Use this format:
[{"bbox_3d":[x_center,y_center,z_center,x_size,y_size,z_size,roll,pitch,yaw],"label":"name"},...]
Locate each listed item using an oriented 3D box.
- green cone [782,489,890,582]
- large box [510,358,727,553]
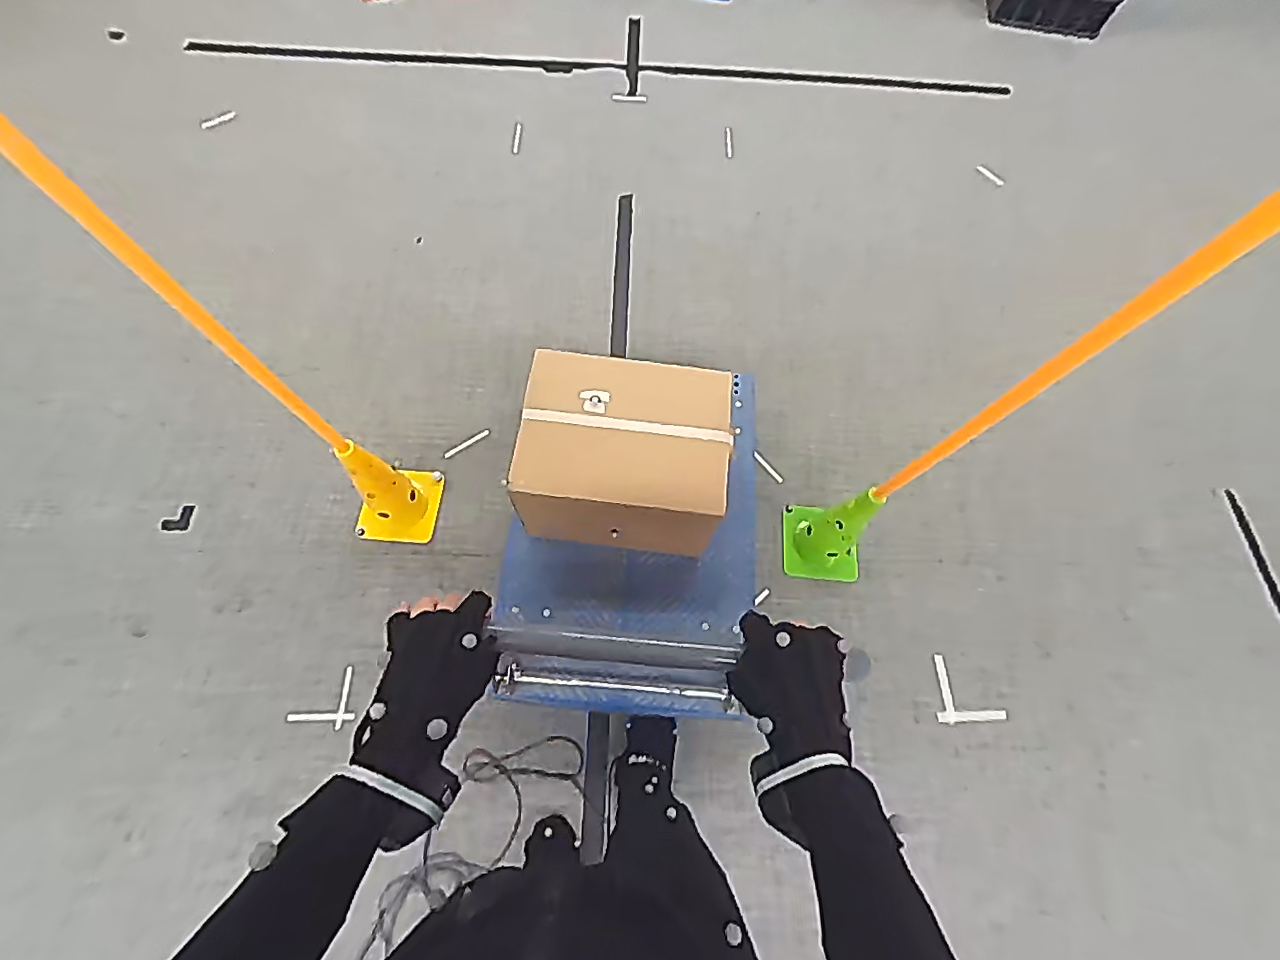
[{"bbox_3d":[0.499,0.108,1.321,0.202,0.368,0.200,6,67,-2],"label":"green cone"},{"bbox_3d":[-0.035,-0.037,1.197,0.408,0.320,0.320,7,68,1],"label":"large box"}]
